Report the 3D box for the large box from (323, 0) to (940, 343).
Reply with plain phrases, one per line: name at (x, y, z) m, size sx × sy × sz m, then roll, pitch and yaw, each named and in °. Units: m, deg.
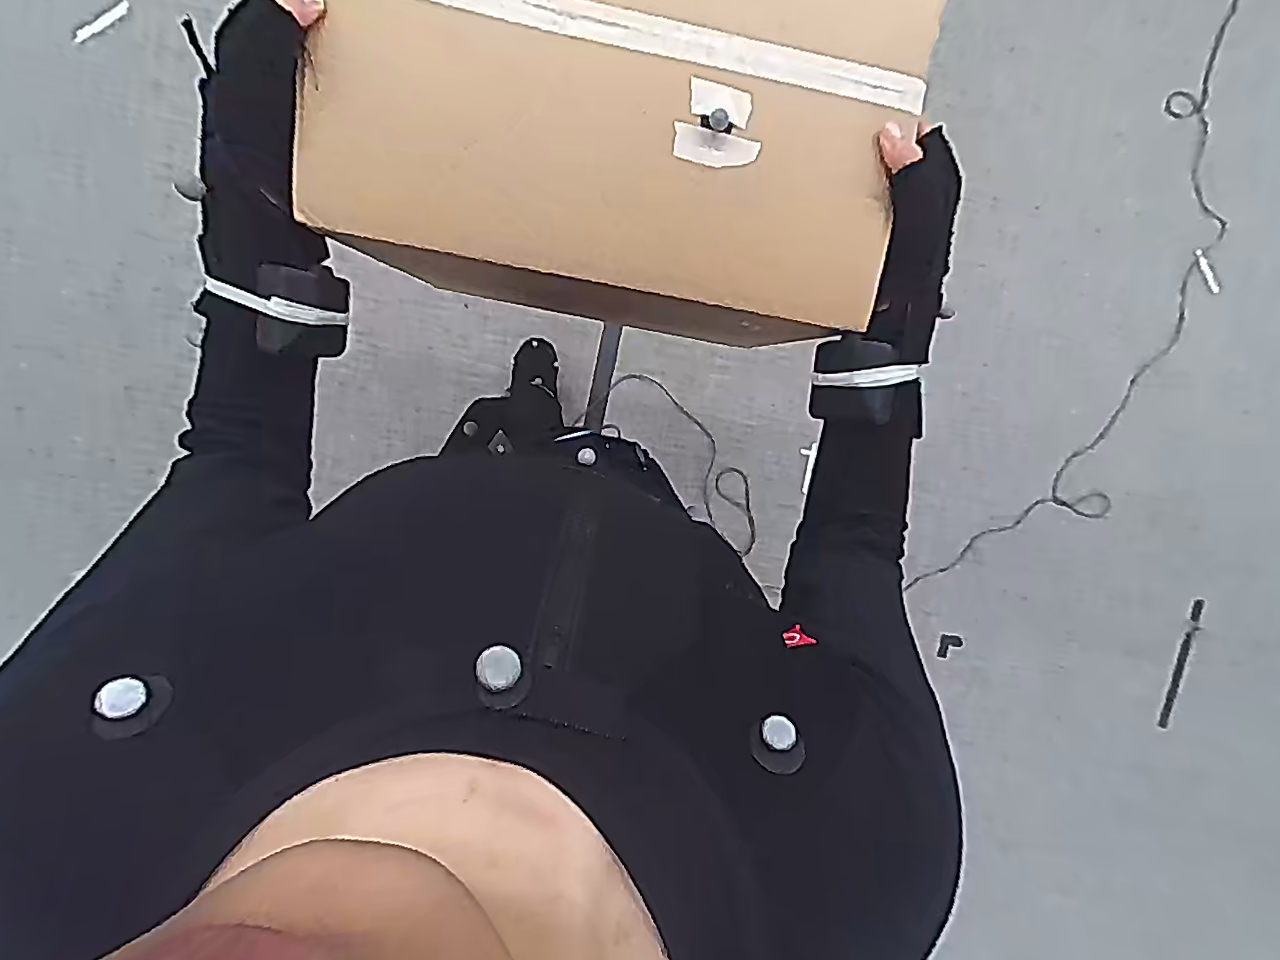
large box at (-0.014, -0.321, 0.509) m, size 0.408 × 0.320 × 0.320 m, roll 9°, pitch 102°, yaw -7°
